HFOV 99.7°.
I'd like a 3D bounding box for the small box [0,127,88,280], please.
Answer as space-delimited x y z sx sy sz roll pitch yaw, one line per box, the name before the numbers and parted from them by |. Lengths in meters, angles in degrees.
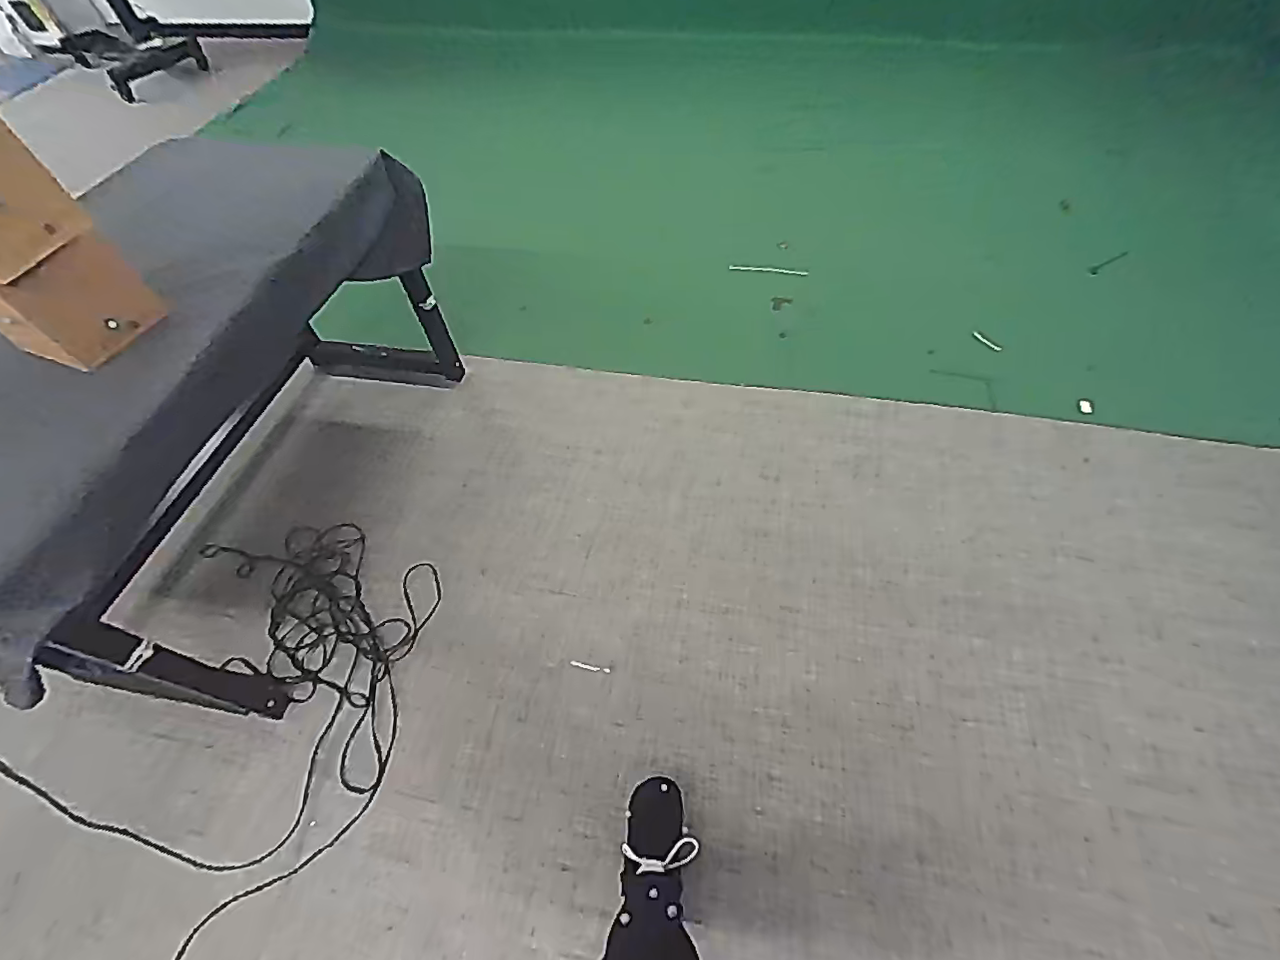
small box | -0.963 -0.398 0.757 0.179 0.176 0.168 10 56 9
